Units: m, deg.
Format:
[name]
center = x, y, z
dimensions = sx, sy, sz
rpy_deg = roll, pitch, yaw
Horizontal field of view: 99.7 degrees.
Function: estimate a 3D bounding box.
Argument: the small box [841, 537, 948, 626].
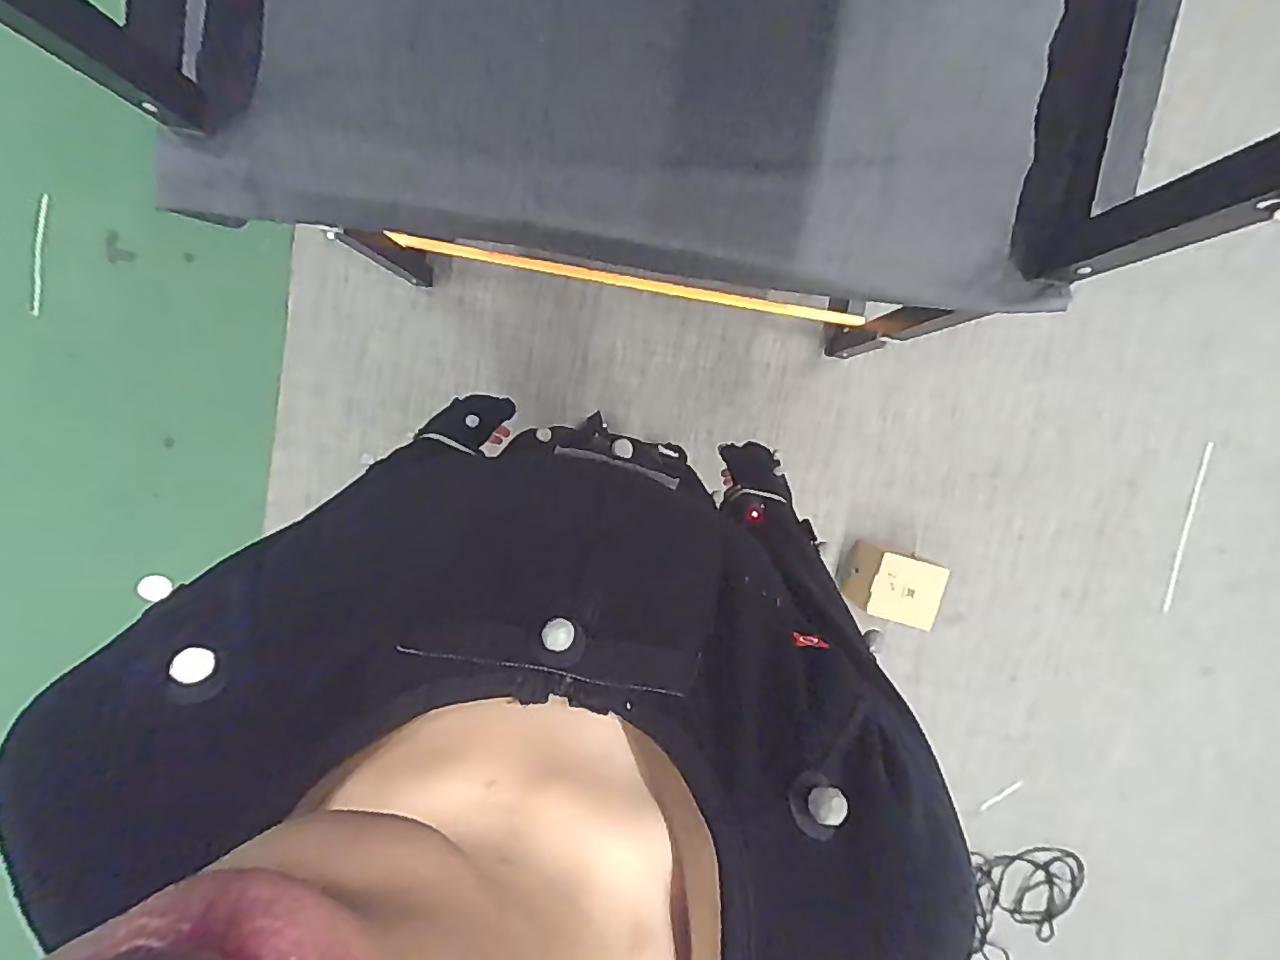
[small box]
center = 0.665, 0.260, 1.433
dimensions = 0.179, 0.176, 0.168
rpy_deg = 16, 96, -1
